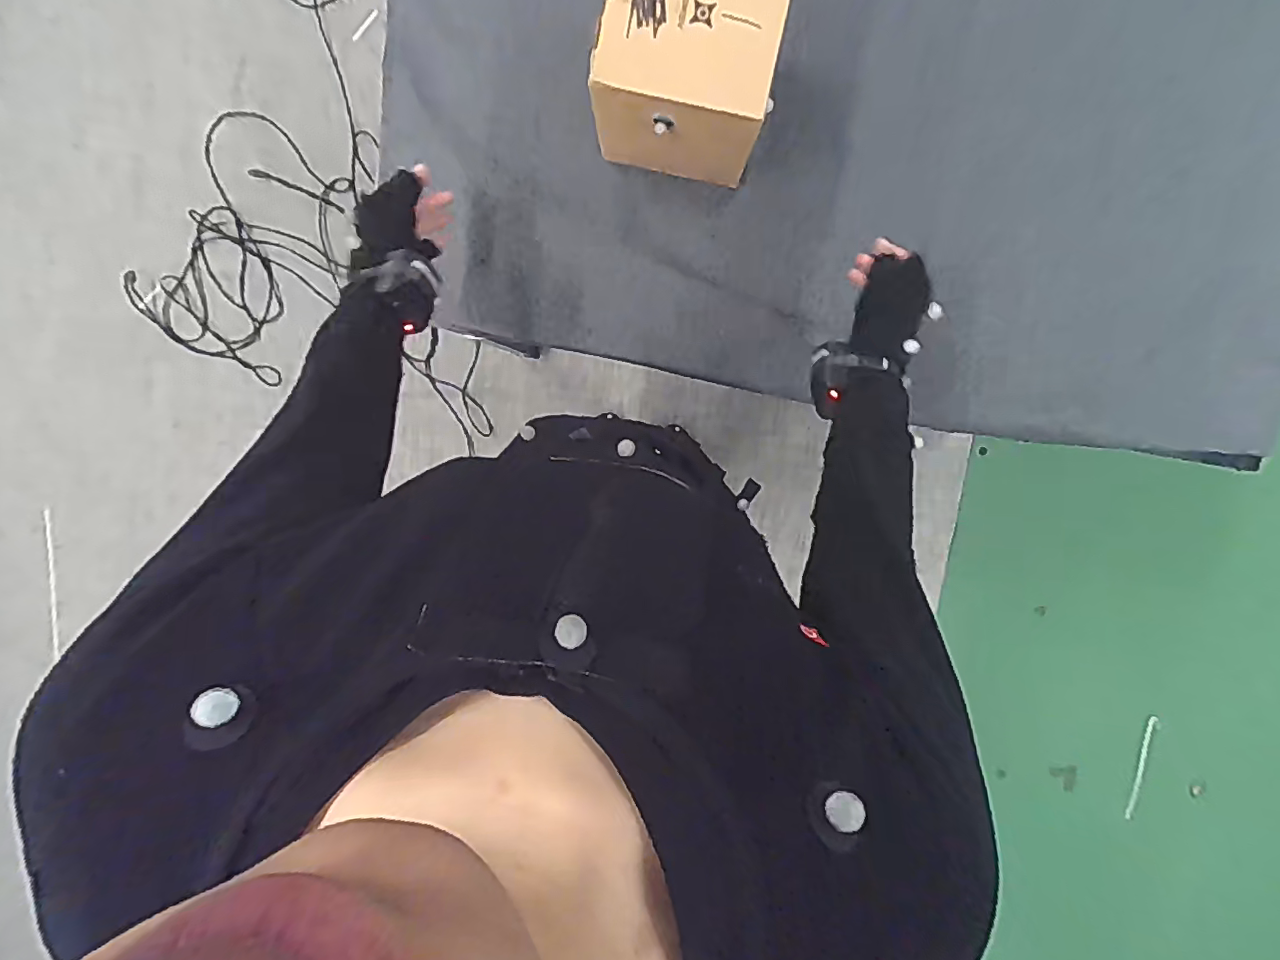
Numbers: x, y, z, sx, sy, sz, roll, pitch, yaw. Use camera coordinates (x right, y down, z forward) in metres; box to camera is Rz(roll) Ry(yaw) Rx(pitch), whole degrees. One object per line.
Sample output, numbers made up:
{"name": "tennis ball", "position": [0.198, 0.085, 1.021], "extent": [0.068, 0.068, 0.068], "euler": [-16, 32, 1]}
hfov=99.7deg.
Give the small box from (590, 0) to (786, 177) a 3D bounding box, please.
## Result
{"name": "small box", "position": [0.052, -0.466, 0.598], "extent": [0.179, 0.176, 0.168], "euler": [12, 98, -1]}
